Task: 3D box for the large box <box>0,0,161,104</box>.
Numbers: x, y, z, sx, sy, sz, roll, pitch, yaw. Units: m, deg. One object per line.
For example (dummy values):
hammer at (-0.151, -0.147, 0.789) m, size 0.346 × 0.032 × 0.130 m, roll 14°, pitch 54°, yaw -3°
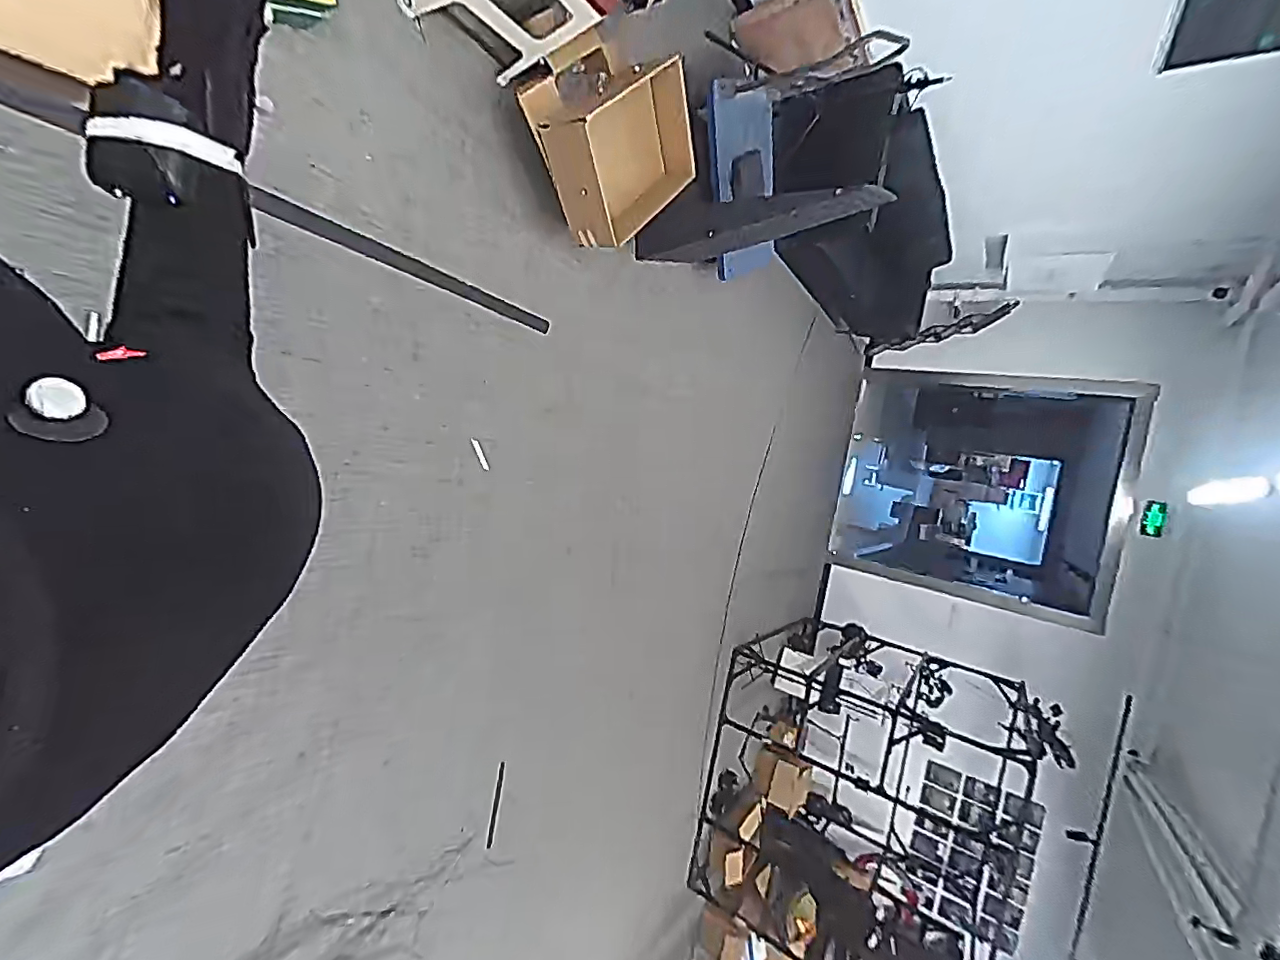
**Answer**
large box at (-0.529, -0.447, 0.257) m, size 0.408 × 0.320 × 0.320 m, roll -5°, pitch 117°, yaw -55°
